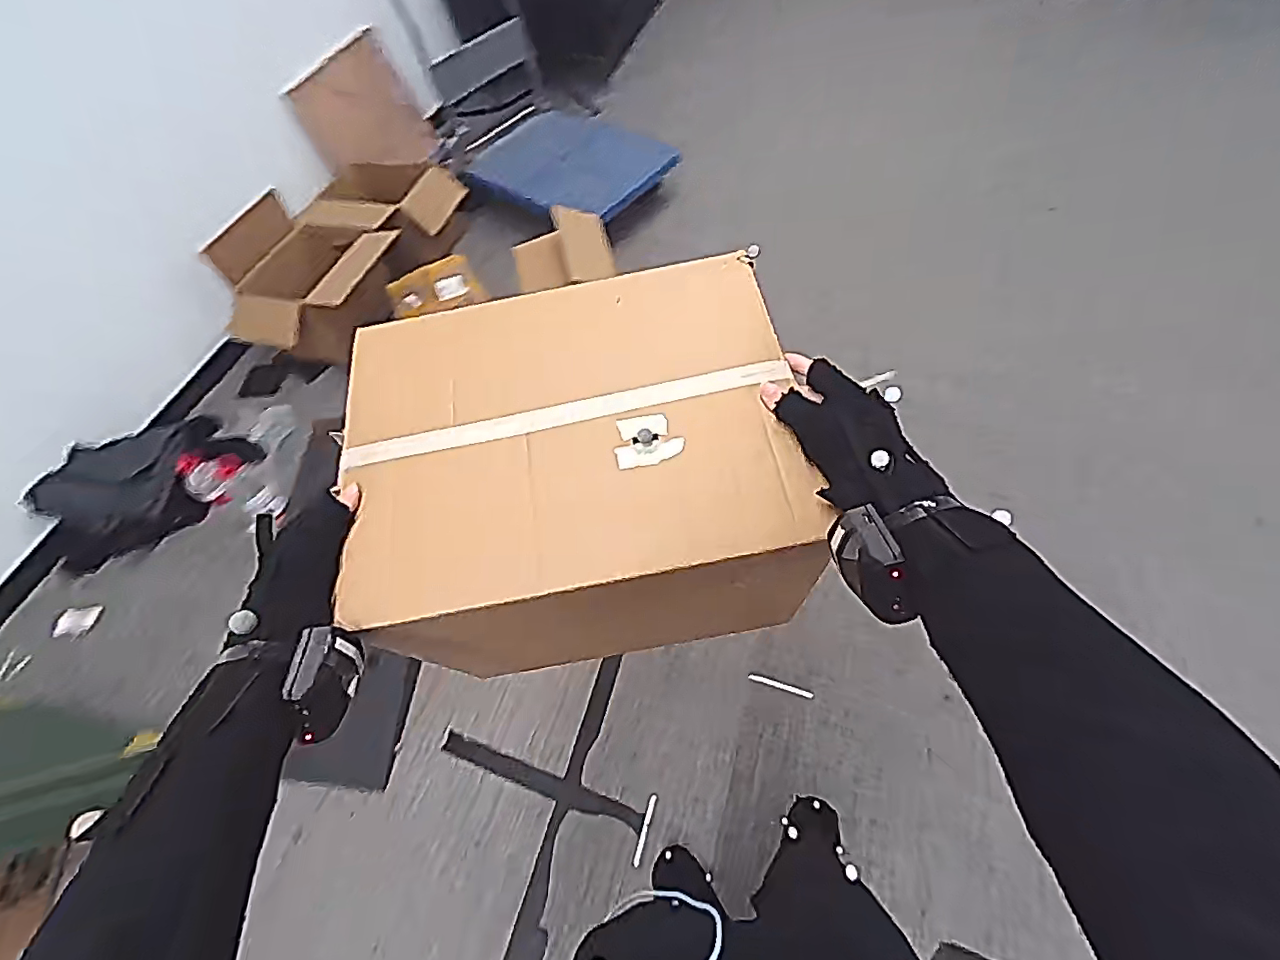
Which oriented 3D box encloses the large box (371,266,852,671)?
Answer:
[{"bbox_3d":[-0.033,0.012,0.631,0.408,0.320,0.320,-10,63,1],"label":"large box"}]
